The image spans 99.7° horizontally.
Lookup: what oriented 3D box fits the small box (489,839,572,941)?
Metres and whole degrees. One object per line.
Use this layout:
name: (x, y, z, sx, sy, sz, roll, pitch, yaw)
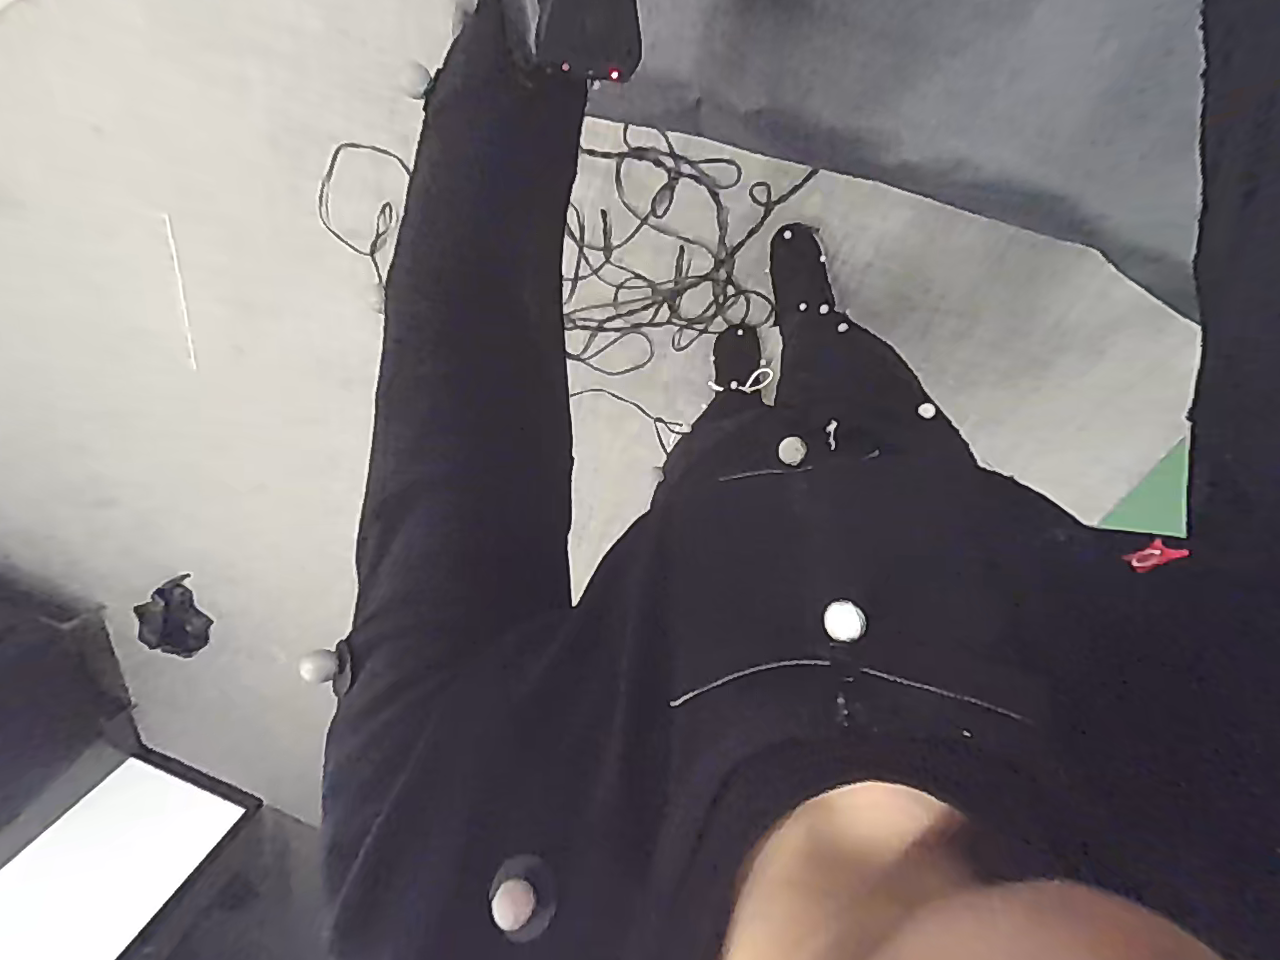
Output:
small box: (-0.323, 1.222, 1.620, 0.168, 0.176, 0.179, 29, 123, 2)
